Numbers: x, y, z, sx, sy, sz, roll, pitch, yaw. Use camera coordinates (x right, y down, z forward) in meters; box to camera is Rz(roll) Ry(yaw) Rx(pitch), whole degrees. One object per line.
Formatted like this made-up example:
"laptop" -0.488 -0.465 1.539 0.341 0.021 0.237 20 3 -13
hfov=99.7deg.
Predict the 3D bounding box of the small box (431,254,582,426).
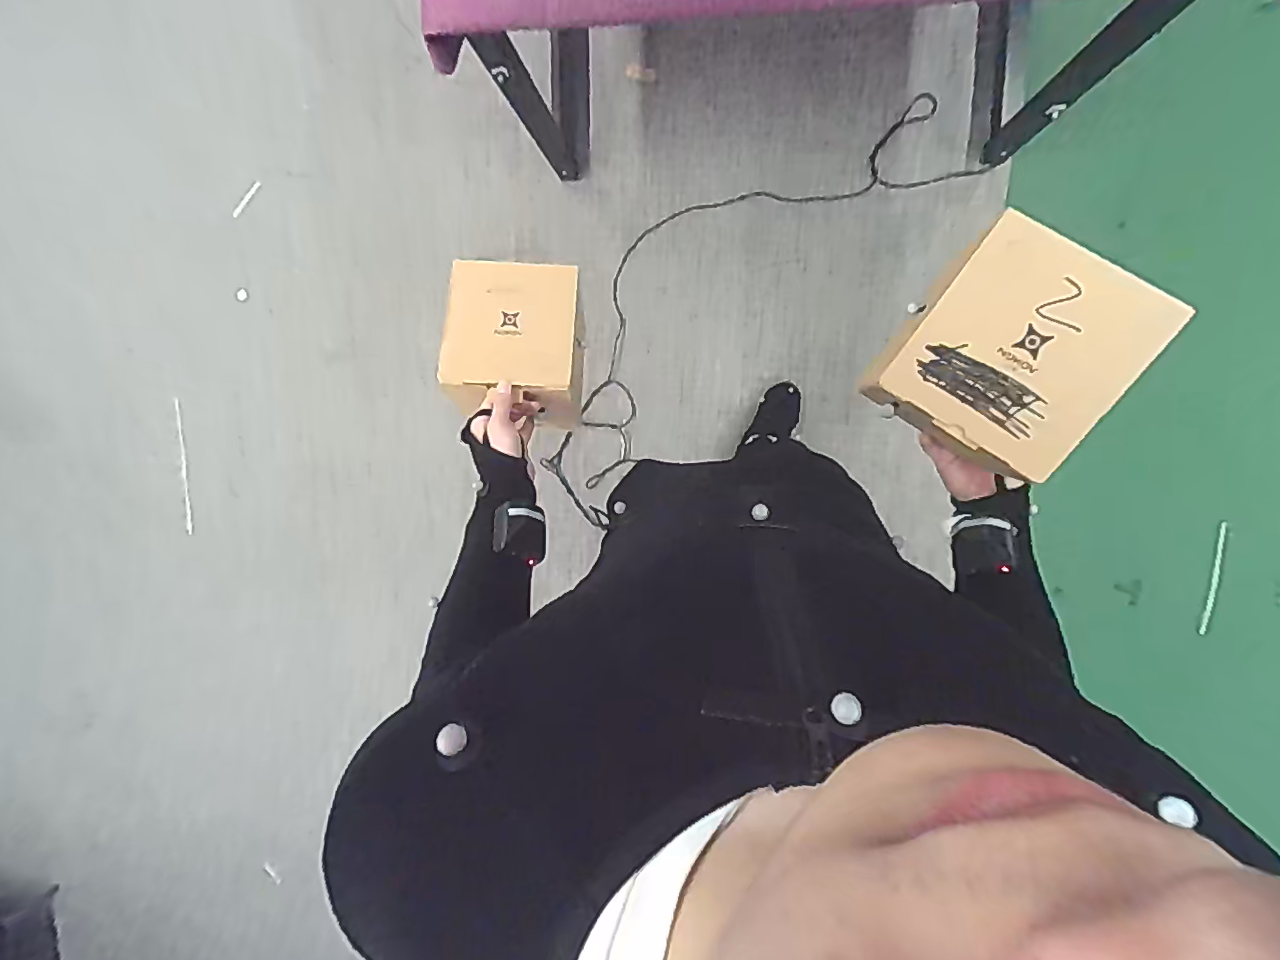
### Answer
"small box" -0.172 -0.184 0.753 0.168 0.176 0.179 3 75 -2
